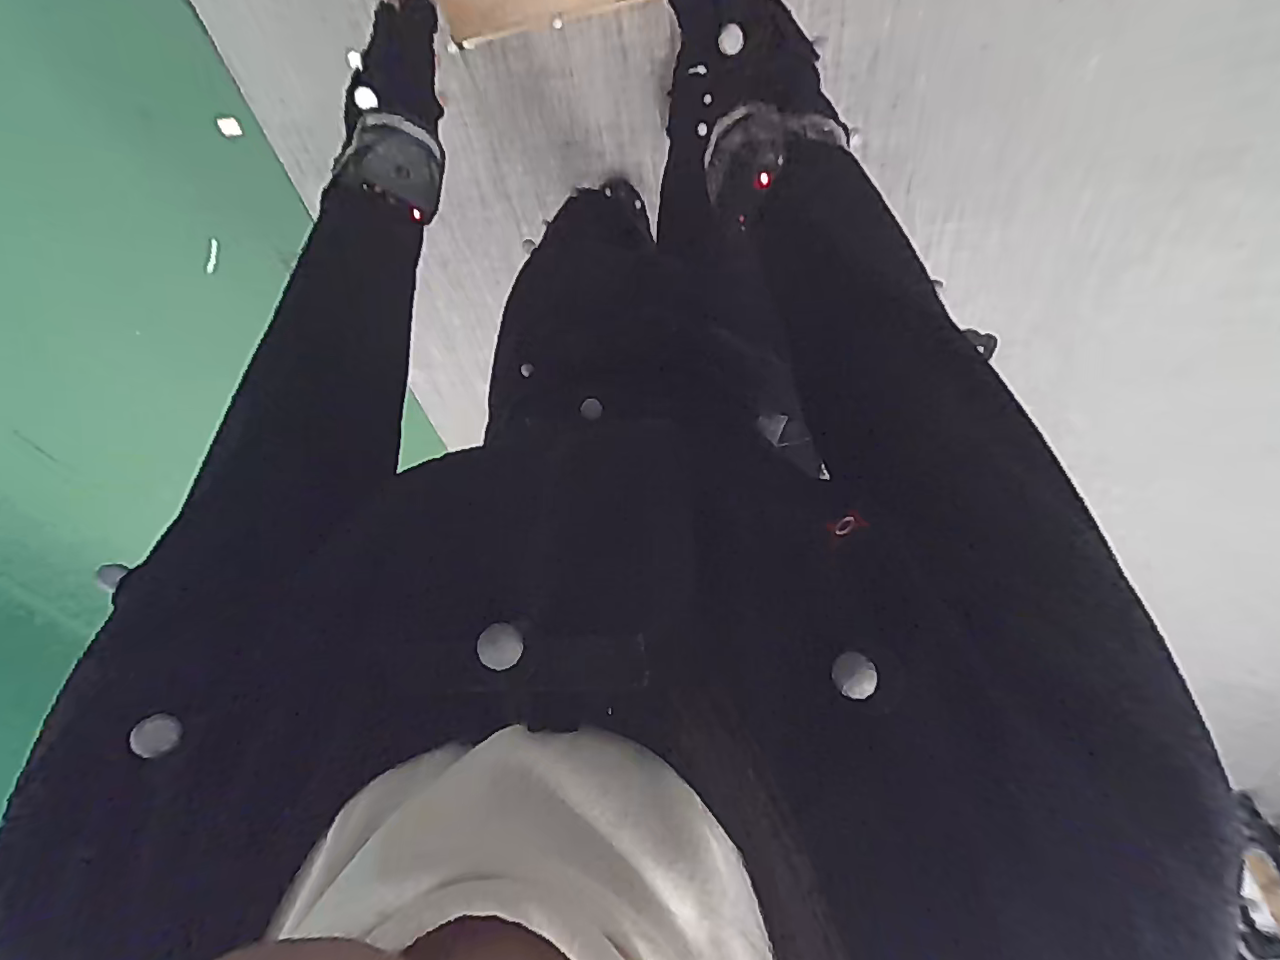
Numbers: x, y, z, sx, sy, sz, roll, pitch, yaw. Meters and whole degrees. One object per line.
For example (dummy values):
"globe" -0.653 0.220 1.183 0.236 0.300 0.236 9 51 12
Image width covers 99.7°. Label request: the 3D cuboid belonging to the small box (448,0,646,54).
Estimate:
"small box" -0.085 -0.509 0.468 0.179 0.176 0.168 -5 137 15
